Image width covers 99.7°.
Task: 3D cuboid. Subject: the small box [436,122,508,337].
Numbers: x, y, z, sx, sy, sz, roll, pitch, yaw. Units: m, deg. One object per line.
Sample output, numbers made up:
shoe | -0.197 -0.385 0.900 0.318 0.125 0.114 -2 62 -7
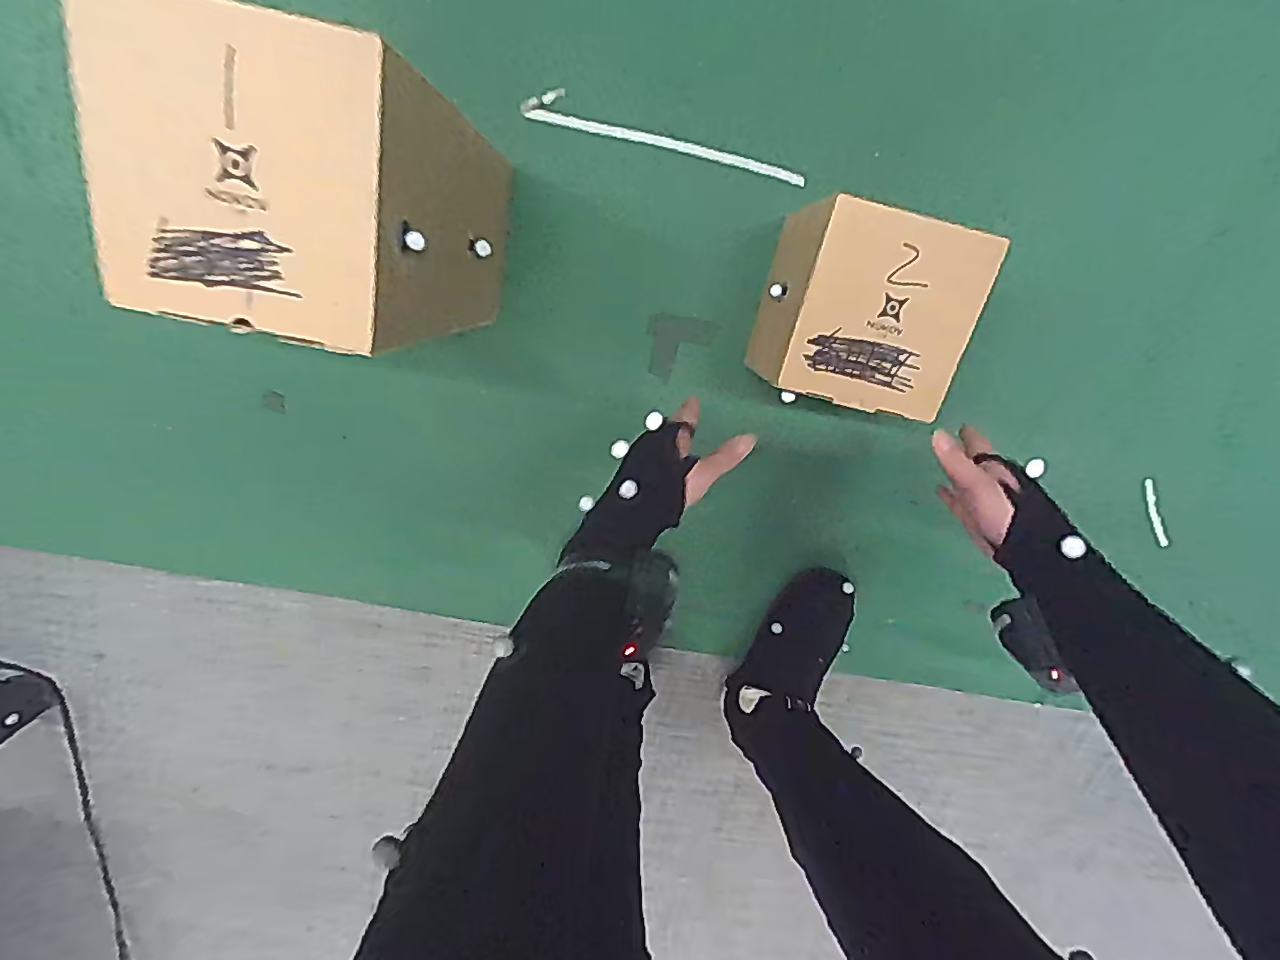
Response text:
small box | -0.236 -0.256 0.542 0.168 0.176 0.179 11 111 -5

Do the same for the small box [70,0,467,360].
small box | -0.233 -0.199 0.388 0.168 0.176 0.179 11 109 -5
